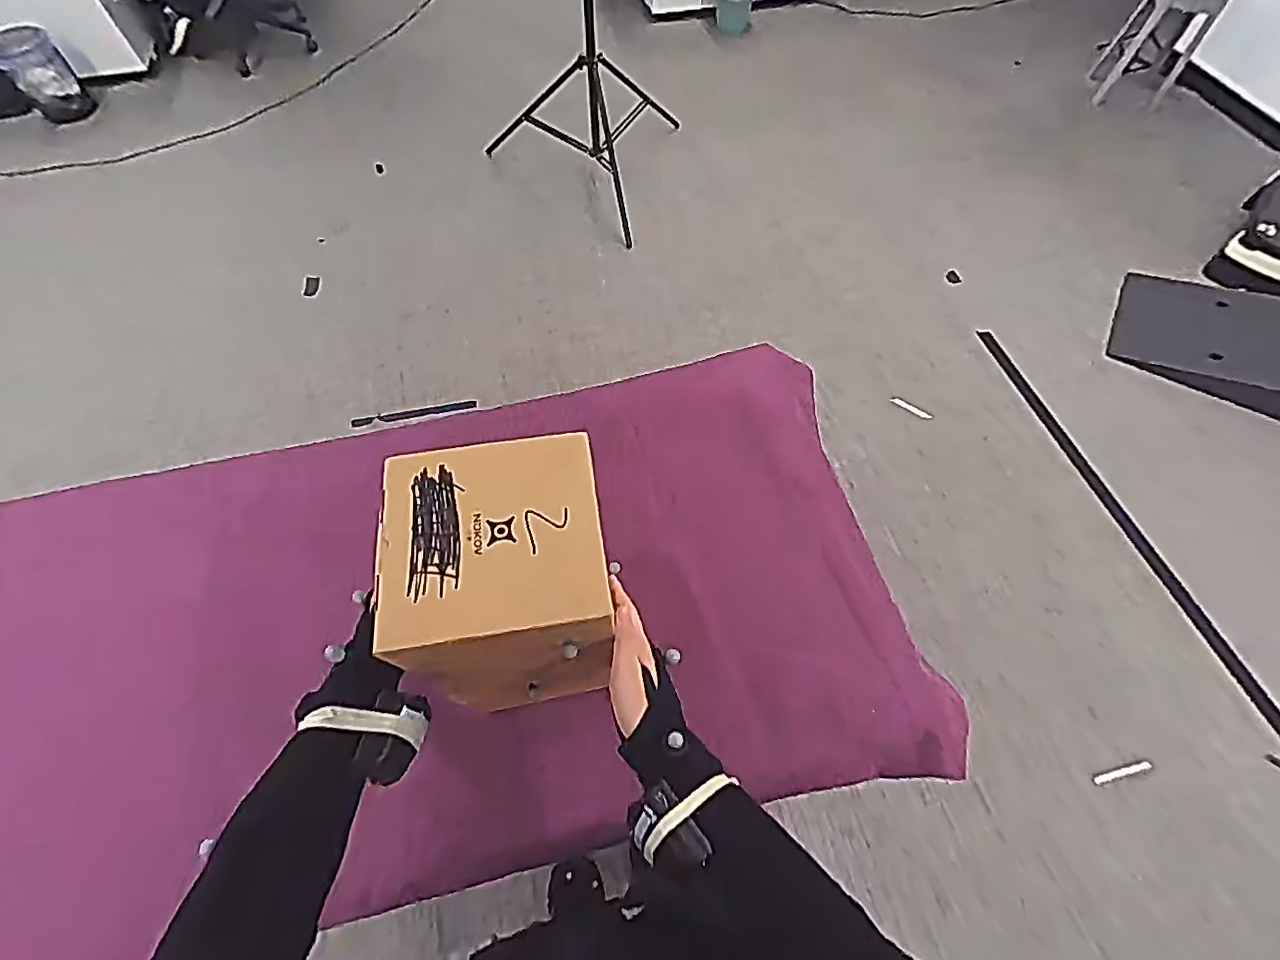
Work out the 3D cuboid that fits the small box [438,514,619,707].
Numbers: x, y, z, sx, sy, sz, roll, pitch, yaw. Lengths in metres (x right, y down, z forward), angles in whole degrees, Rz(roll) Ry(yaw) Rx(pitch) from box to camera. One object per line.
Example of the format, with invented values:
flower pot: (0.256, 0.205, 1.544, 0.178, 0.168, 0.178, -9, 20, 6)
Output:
small box: (-0.125, 0.161, 0.643, 0.179, 0.176, 0.168, -10, 63, -6)
